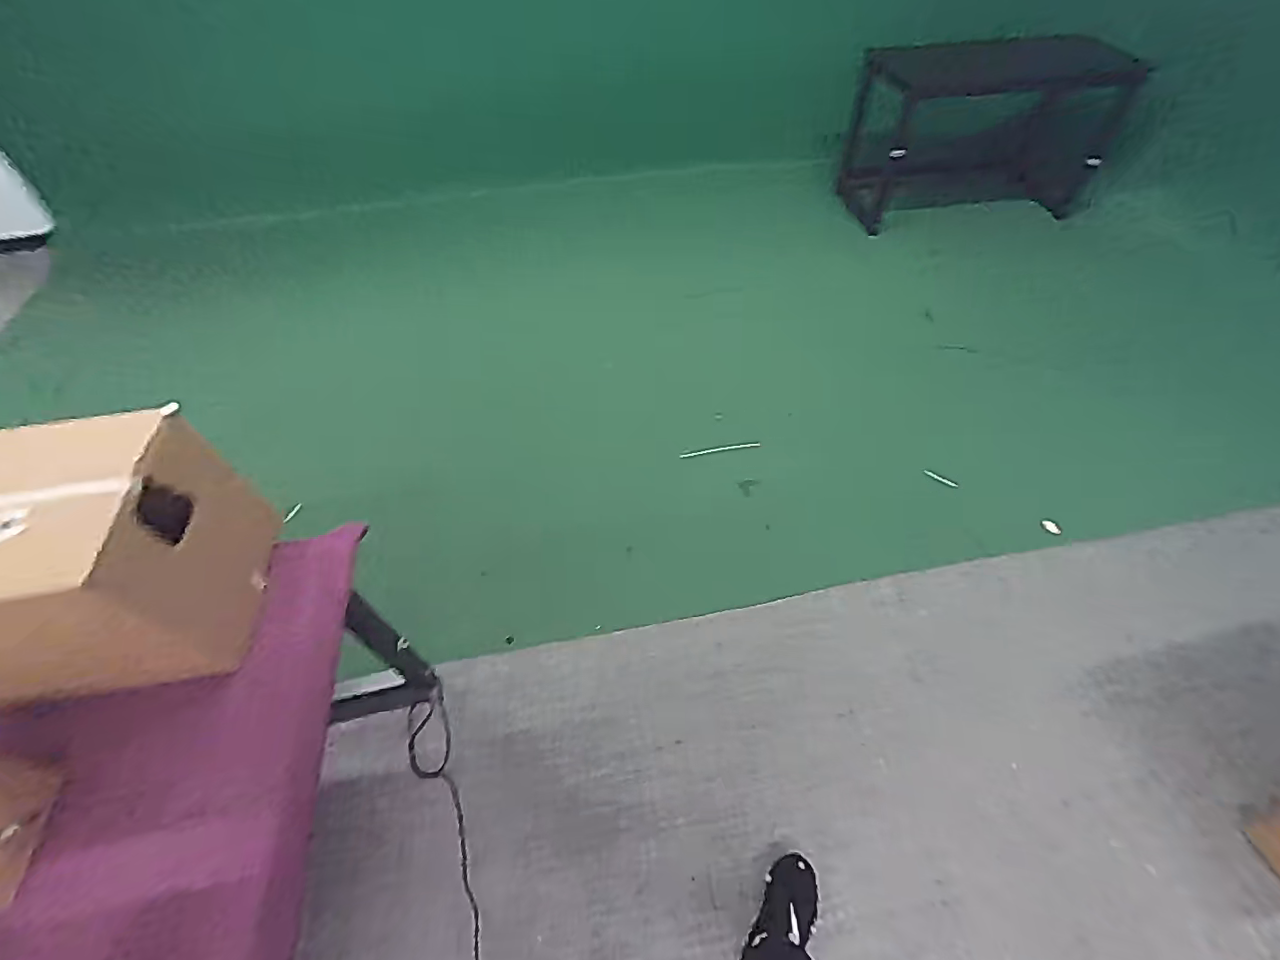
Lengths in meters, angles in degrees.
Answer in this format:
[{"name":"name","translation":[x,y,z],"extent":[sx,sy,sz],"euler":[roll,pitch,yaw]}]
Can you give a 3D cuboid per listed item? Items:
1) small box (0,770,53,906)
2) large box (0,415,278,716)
[{"name":"small box","translation":[-0.926,0.466,0.671],"extent":[0.179,0.176,0.168],"euler":[-9,52,-6]},{"name":"large box","translation":[-0.884,0.140,0.844],"extent":[0.408,0.320,0.320],"euler":[-9,53,-6]}]
